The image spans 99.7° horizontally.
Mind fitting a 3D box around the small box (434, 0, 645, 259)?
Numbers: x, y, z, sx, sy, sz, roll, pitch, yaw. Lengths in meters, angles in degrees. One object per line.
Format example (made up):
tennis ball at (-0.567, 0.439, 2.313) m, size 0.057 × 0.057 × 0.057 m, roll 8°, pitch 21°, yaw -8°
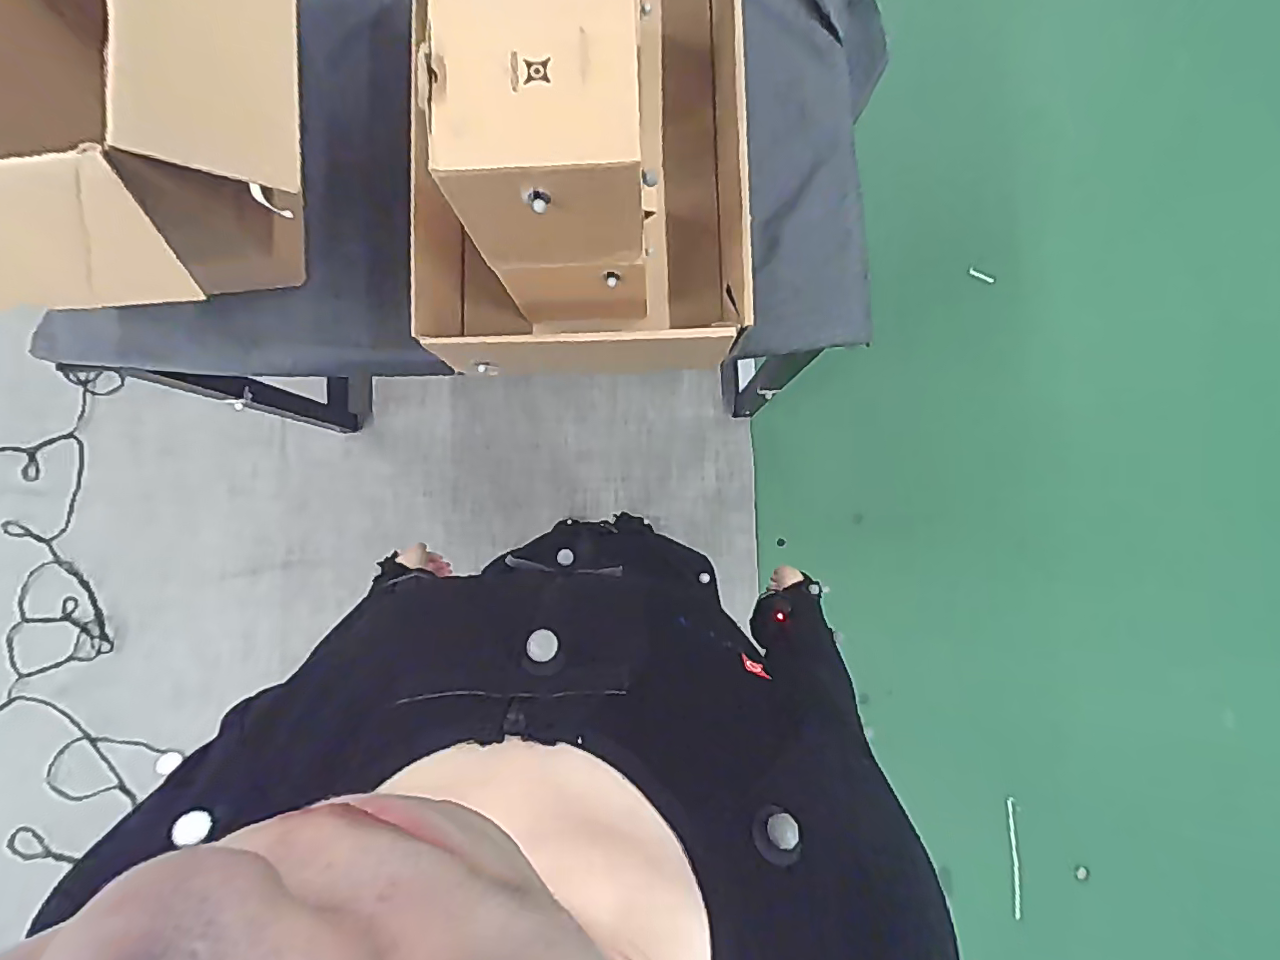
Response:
small box at (-0.084, -0.332, 0.531) m, size 0.179 × 0.176 × 0.168 m, roll -2°, pitch 87°, yaw 0°
